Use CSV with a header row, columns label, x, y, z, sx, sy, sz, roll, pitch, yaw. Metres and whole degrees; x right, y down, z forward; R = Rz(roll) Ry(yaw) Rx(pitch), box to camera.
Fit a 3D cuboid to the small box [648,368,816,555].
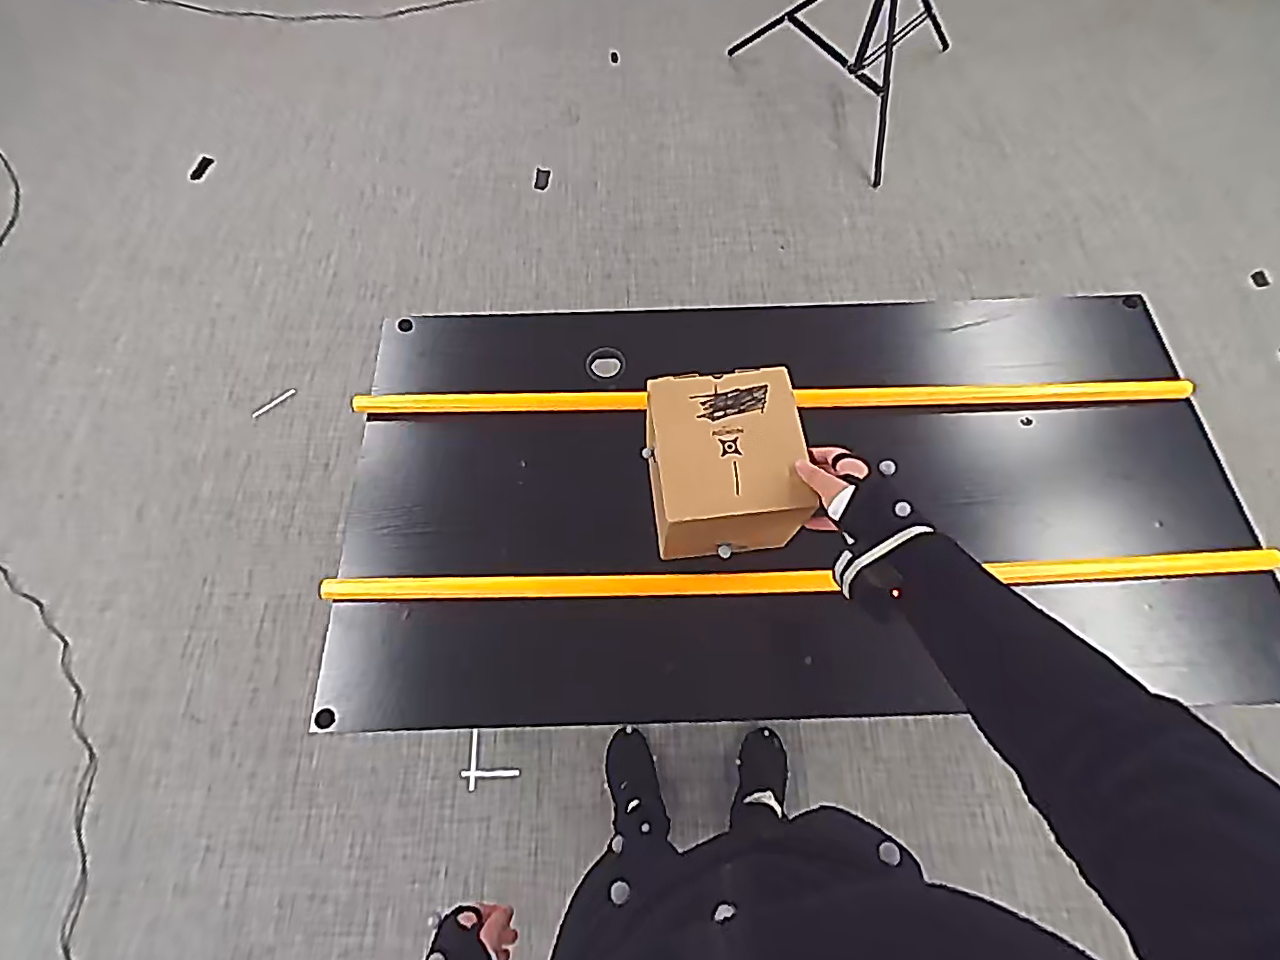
label,x,y,z,sx,sy,sz,roll,pitch,yaw
small box,0.100,-0.016,0.678,0.168,0.176,0.179,-6,69,-1
